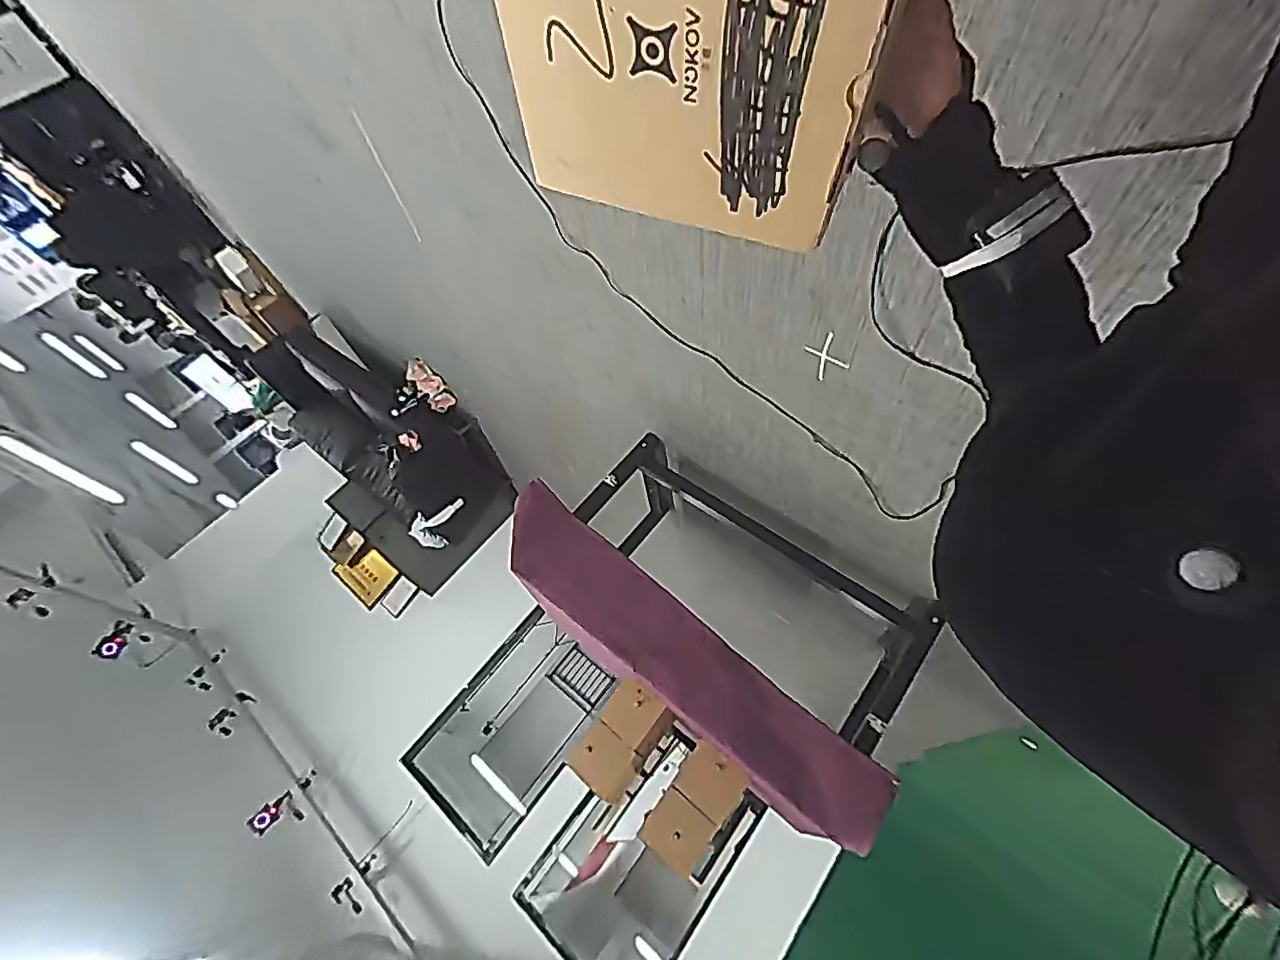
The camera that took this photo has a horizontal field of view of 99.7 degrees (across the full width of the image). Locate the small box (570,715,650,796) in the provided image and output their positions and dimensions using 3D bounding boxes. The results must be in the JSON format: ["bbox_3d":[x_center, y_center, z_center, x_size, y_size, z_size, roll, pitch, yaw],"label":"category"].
[{"bbox_3d":[-0.095,0.895,1.774,0.179,0.176,0.168,30,158,29],"label":"small box"}]

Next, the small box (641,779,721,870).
[{"bbox_3d":[0.129,1.039,1.645,0.179,0.176,0.168,31,158,26],"label":"small box"}]

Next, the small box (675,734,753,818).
[{"bbox_3d":[0.234,0.924,1.700,0.179,0.176,0.168,32,159,27],"label":"small box"}]

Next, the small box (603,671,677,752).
[{"bbox_3d":[0.007,0.781,1.832,0.168,0.176,0.179,29,156,31],"label":"small box"}]
